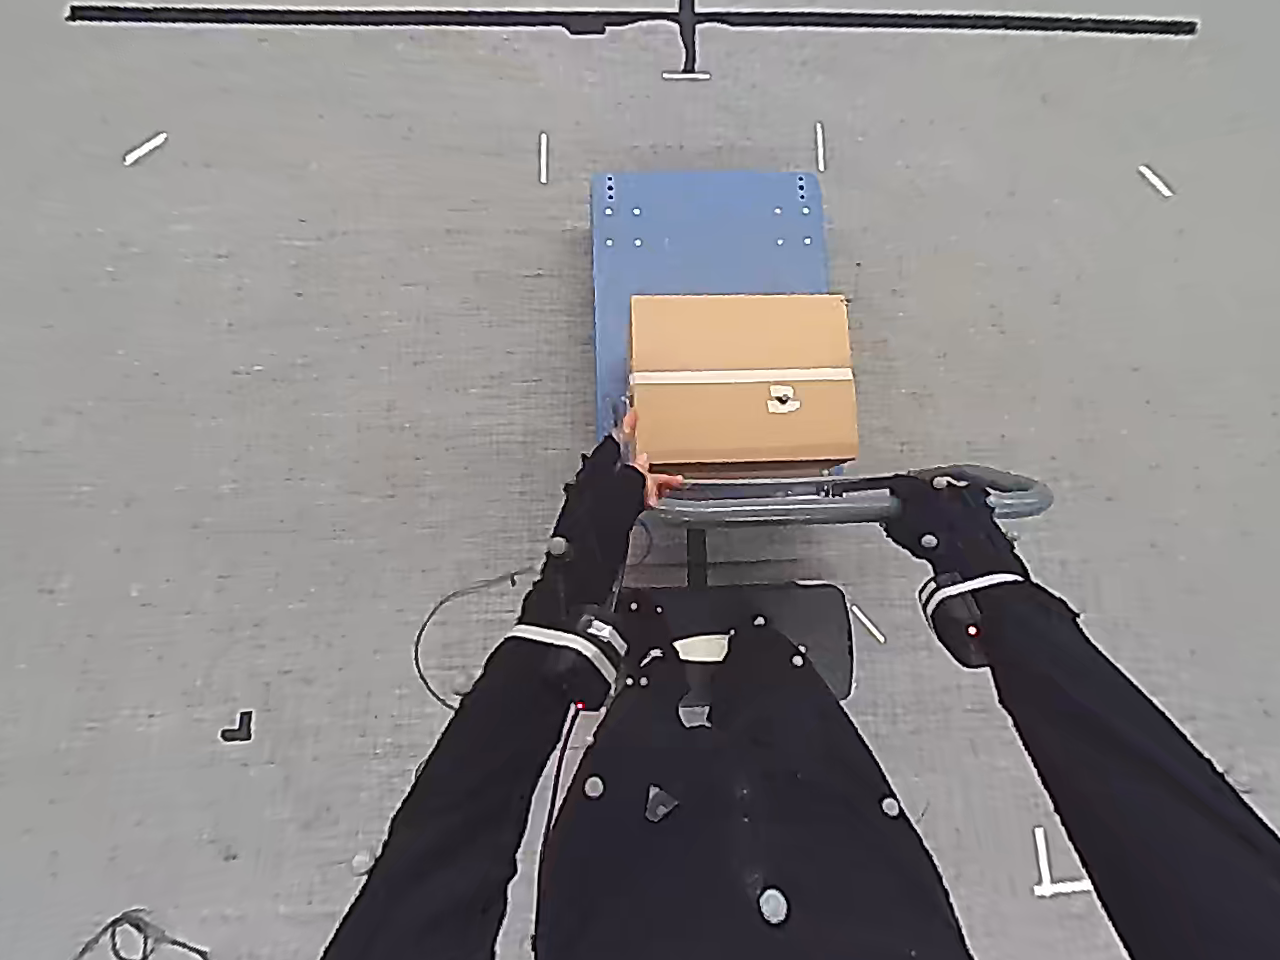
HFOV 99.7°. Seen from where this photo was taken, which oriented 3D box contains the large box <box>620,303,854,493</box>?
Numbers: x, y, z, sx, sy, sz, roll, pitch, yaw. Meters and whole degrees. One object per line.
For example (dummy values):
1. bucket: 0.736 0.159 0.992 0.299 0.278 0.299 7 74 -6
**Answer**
1. large box: 0.169 -0.150 1.121 0.408 0.320 0.320 -2 83 -4
